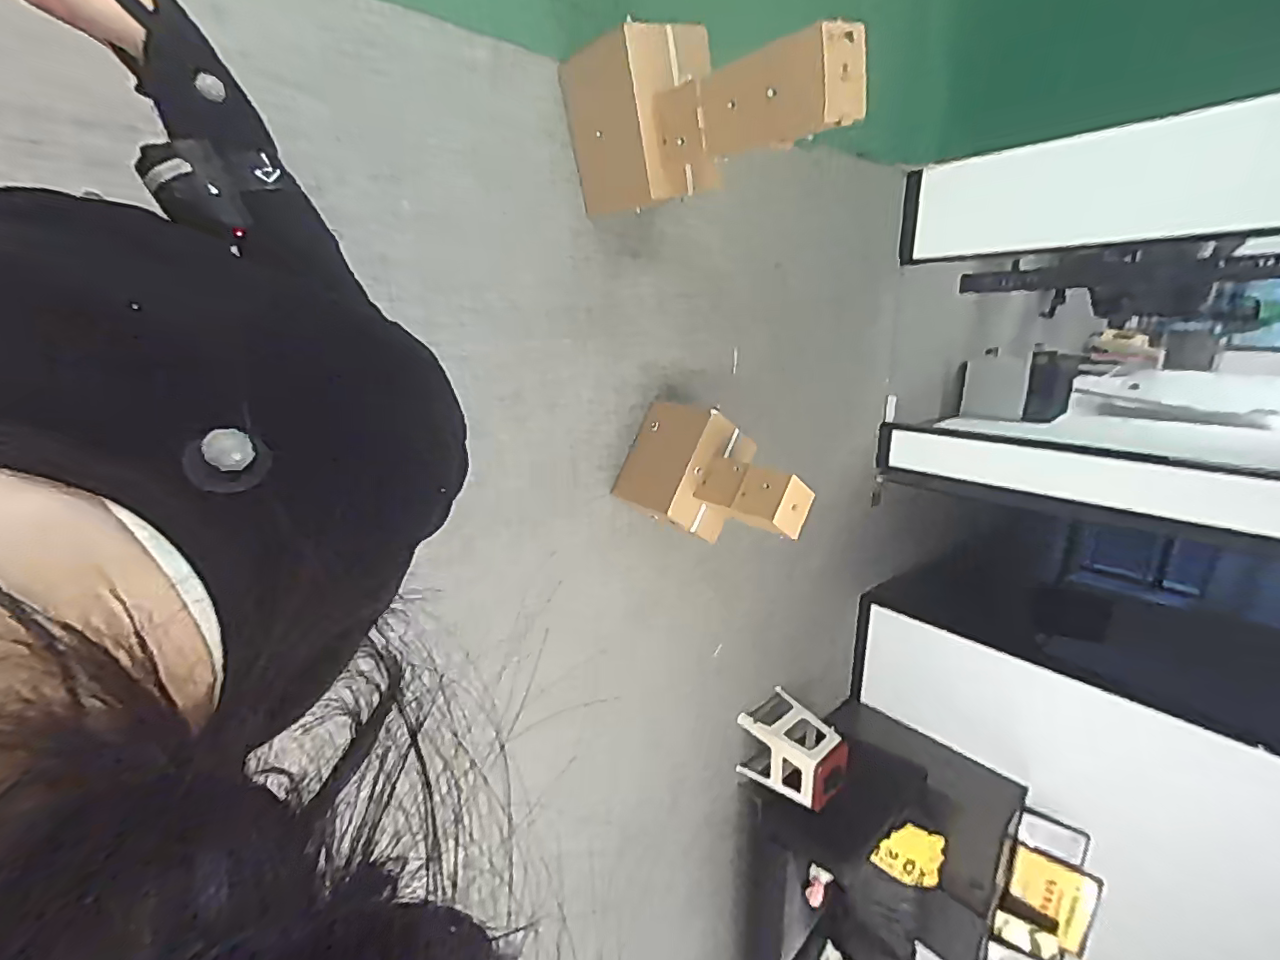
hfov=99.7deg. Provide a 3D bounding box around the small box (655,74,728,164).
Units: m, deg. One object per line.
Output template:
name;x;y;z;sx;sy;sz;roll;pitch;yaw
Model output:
small box;0.155;-0.950;1.431;0.179;0.176;0.168;-29;121;-34

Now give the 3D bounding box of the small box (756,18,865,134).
small box;0.376;-0.882;1.198;0.168;0.176;0.179;-29;122;-33

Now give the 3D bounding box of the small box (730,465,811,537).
small box;0.417;0.063;1.739;0.179;0.176;0.168;33;80;-45

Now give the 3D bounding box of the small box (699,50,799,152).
small box;0.266;-0.914;1.316;0.168;0.176;0.179;-30;121;-33

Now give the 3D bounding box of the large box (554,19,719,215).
large box;-0.005;-1.044;1.596;0.320;0.320;0.408;-30;120;-34
